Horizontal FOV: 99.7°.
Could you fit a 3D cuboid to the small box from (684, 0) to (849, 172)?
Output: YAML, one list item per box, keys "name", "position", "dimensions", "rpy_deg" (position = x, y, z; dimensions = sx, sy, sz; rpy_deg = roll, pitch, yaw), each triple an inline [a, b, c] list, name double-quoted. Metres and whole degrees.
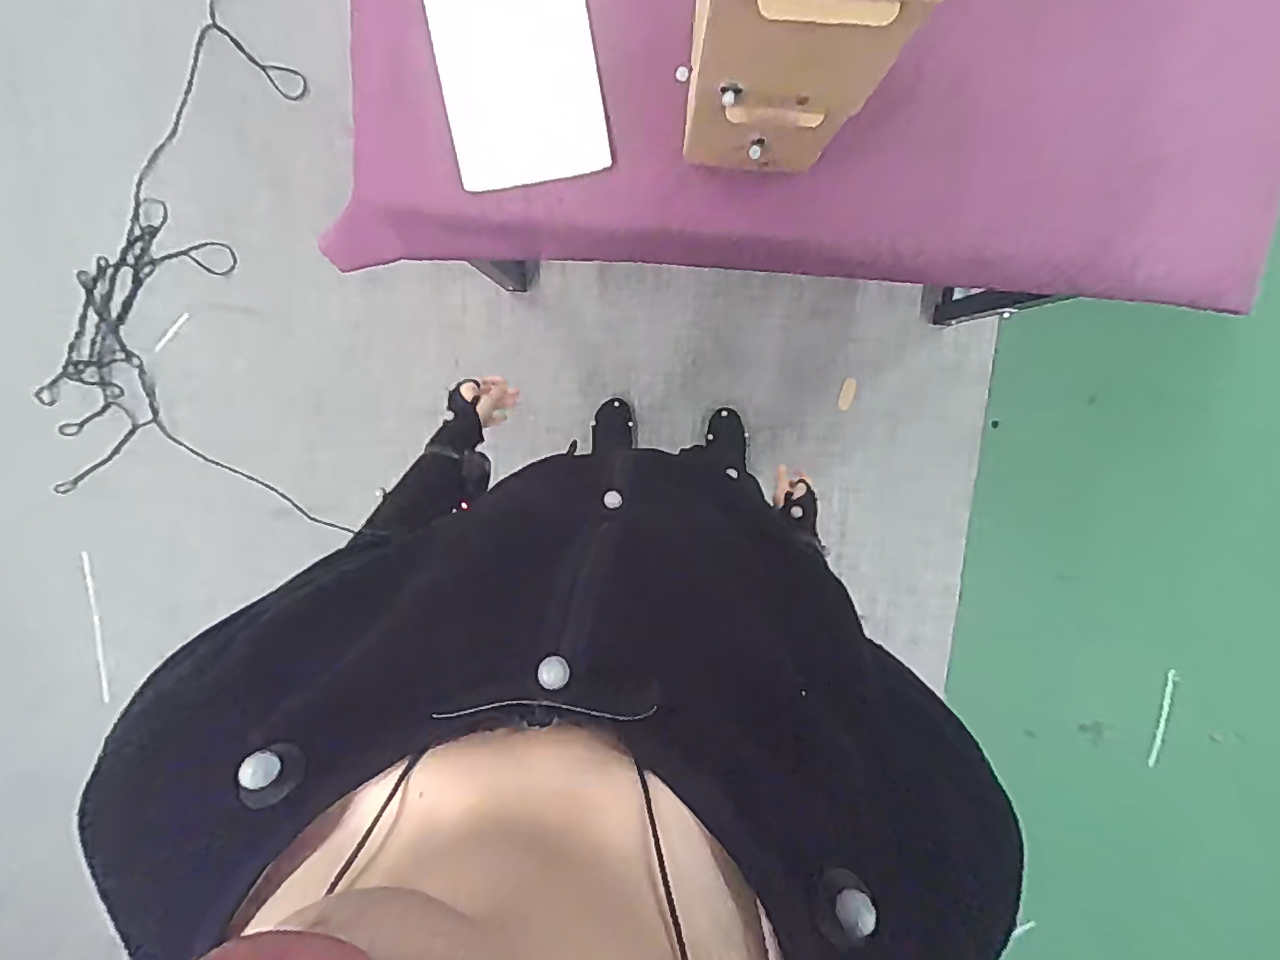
- name: "small box"
  position: [0.142, -0.478, 0.619]
  dimensions: [0.168, 0.176, 0.179]
  rpy_deg: [4, 99, -1]

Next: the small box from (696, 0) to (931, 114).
- name: "small box"
  position: [0.141, -0.447, 0.457]
  dimensions: [0.168, 0.176, 0.179]
  rpy_deg: [5, 98, -1]

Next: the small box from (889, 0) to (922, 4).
- name: "small box"
  position: [0.141, -0.417, 0.297]
  dimensions: [0.168, 0.176, 0.179]
  rpy_deg: [5, 98, -1]
